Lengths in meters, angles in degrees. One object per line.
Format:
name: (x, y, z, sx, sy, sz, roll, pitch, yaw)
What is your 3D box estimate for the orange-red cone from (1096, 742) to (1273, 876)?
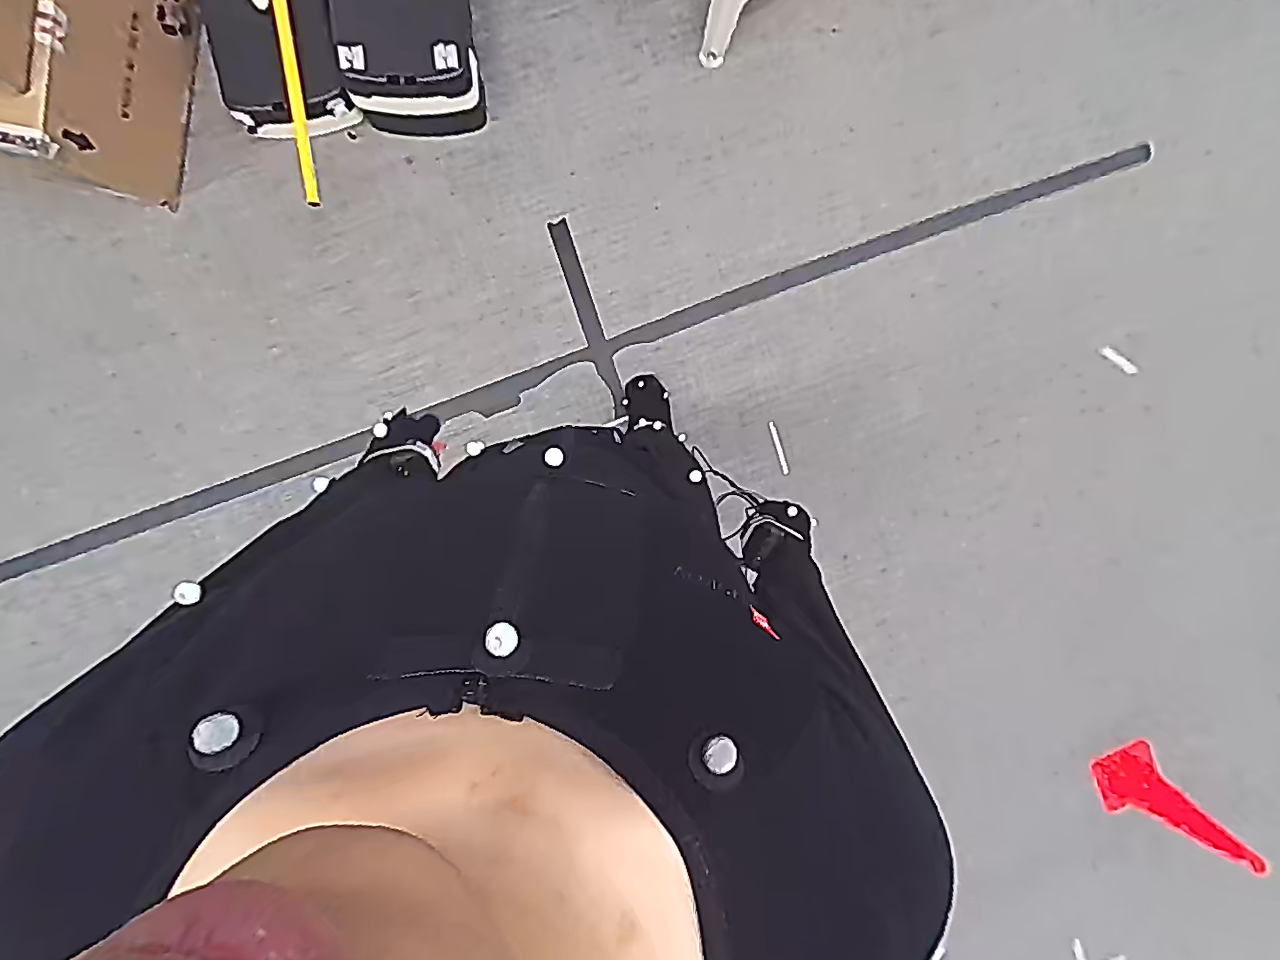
orange-red cone: (1.542, 0.949, 1.517, 0.198, 0.360, 0.199, -24, 96, -2)
